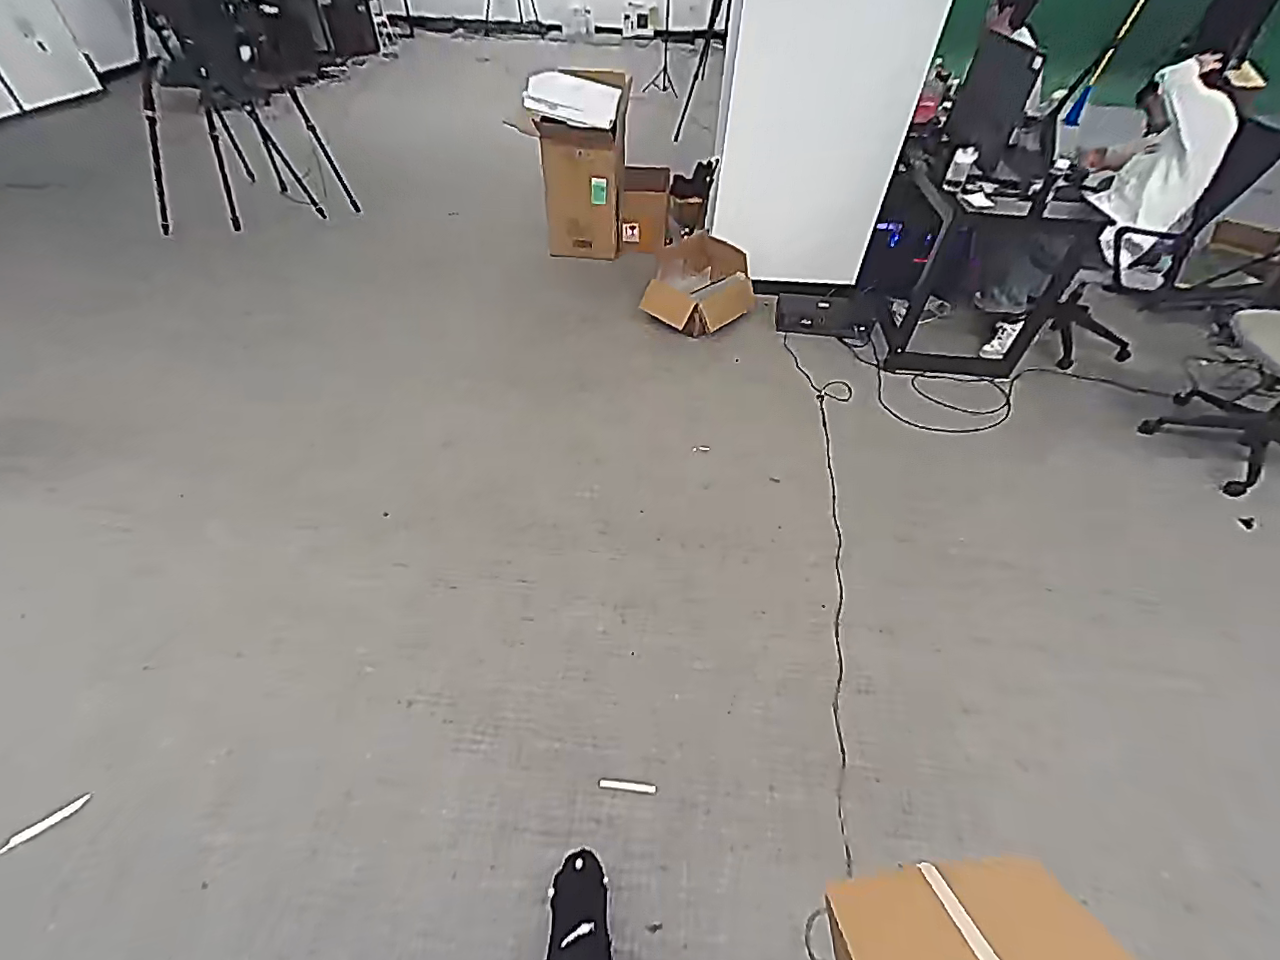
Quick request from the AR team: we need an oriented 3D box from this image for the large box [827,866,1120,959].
[{"bbox_3d":[0.445,0.744,0.613,0.320,0.408,0.320,-9,91,2],"label":"large box"}]
